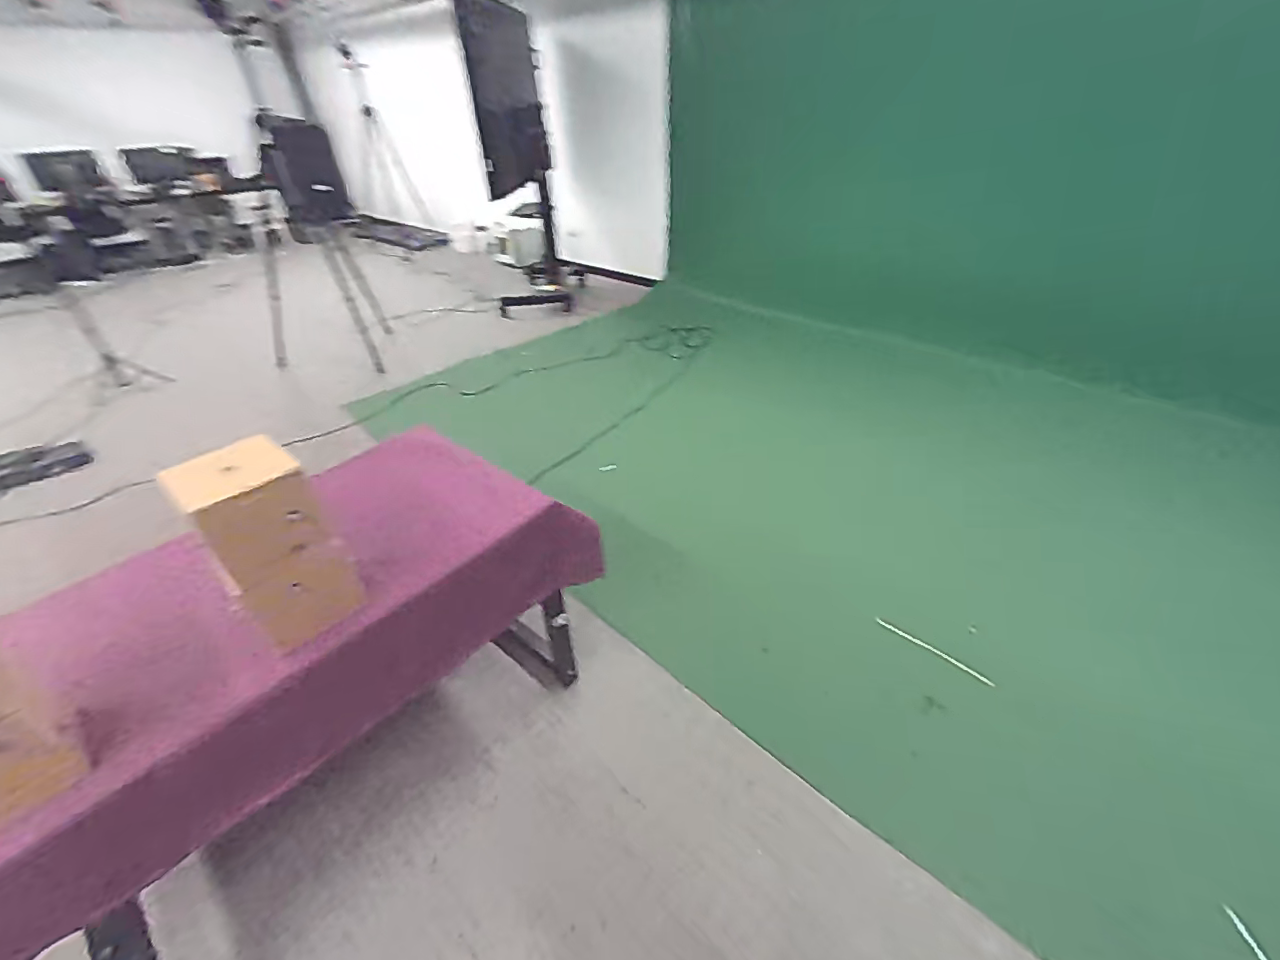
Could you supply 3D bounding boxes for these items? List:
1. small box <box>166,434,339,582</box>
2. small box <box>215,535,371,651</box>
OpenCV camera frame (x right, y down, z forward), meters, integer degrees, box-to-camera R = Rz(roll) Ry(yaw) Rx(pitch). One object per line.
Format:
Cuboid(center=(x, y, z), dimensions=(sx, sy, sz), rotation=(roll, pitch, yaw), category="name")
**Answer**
Cuboid(center=(-0.655, 0.049, 0.930), dimensions=(0.179, 0.176, 0.168), rotation=(25, 43, 34), category="small box")
Cuboid(center=(-0.646, 0.184, 1.021), dimensions=(0.168, 0.176, 0.179), rotation=(28, 45, 34), category="small box")
